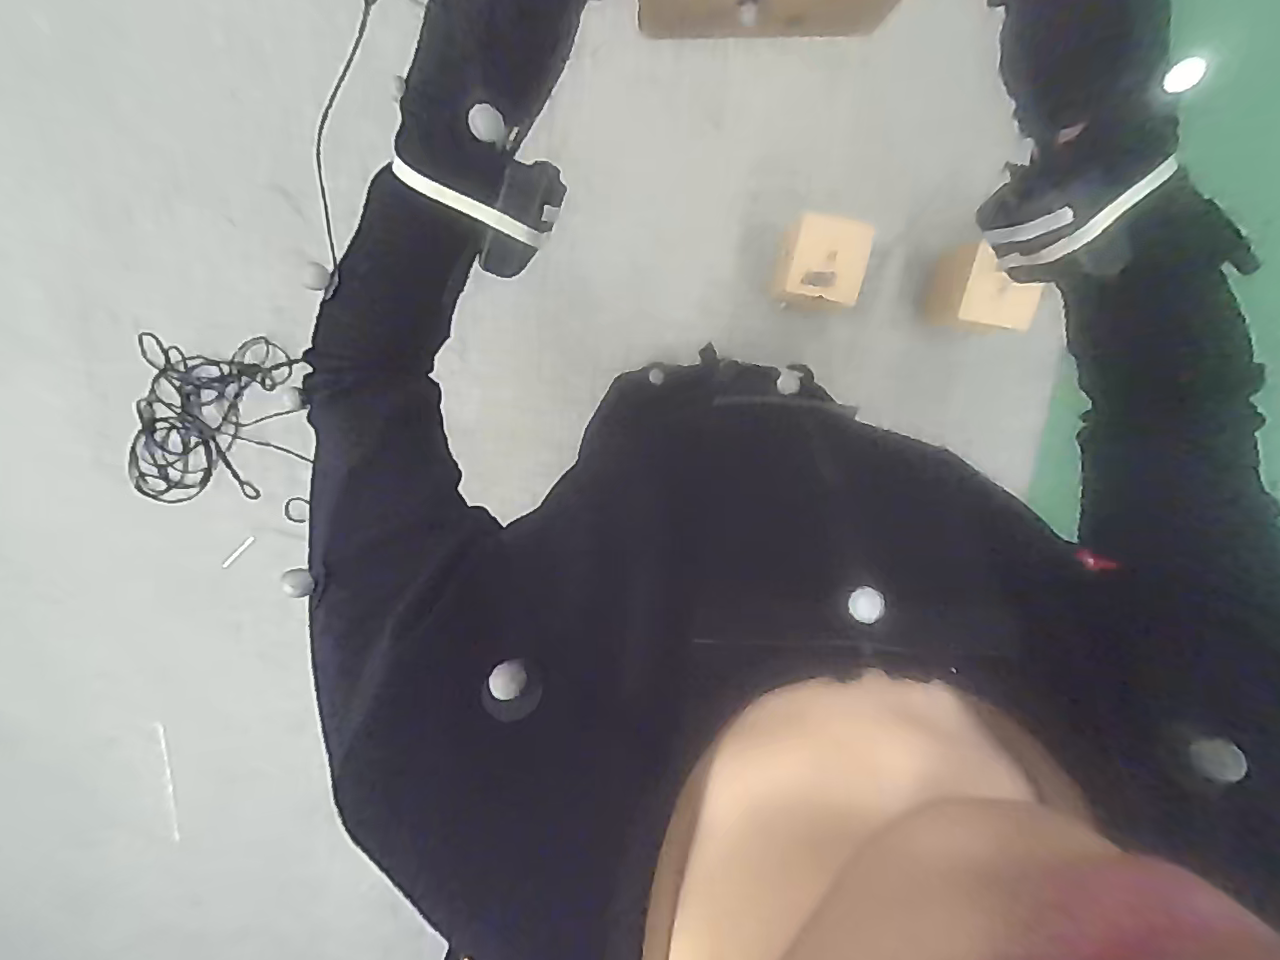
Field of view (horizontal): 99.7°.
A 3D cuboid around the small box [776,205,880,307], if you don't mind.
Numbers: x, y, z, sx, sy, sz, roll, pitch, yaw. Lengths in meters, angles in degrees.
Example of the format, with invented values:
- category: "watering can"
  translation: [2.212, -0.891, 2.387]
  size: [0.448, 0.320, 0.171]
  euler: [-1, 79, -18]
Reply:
- category: "small box"
  translation: [0.426, -0.512, 1.263]
  size: [0.168, 0.176, 0.179]
  euler: [12, 102, 0]
